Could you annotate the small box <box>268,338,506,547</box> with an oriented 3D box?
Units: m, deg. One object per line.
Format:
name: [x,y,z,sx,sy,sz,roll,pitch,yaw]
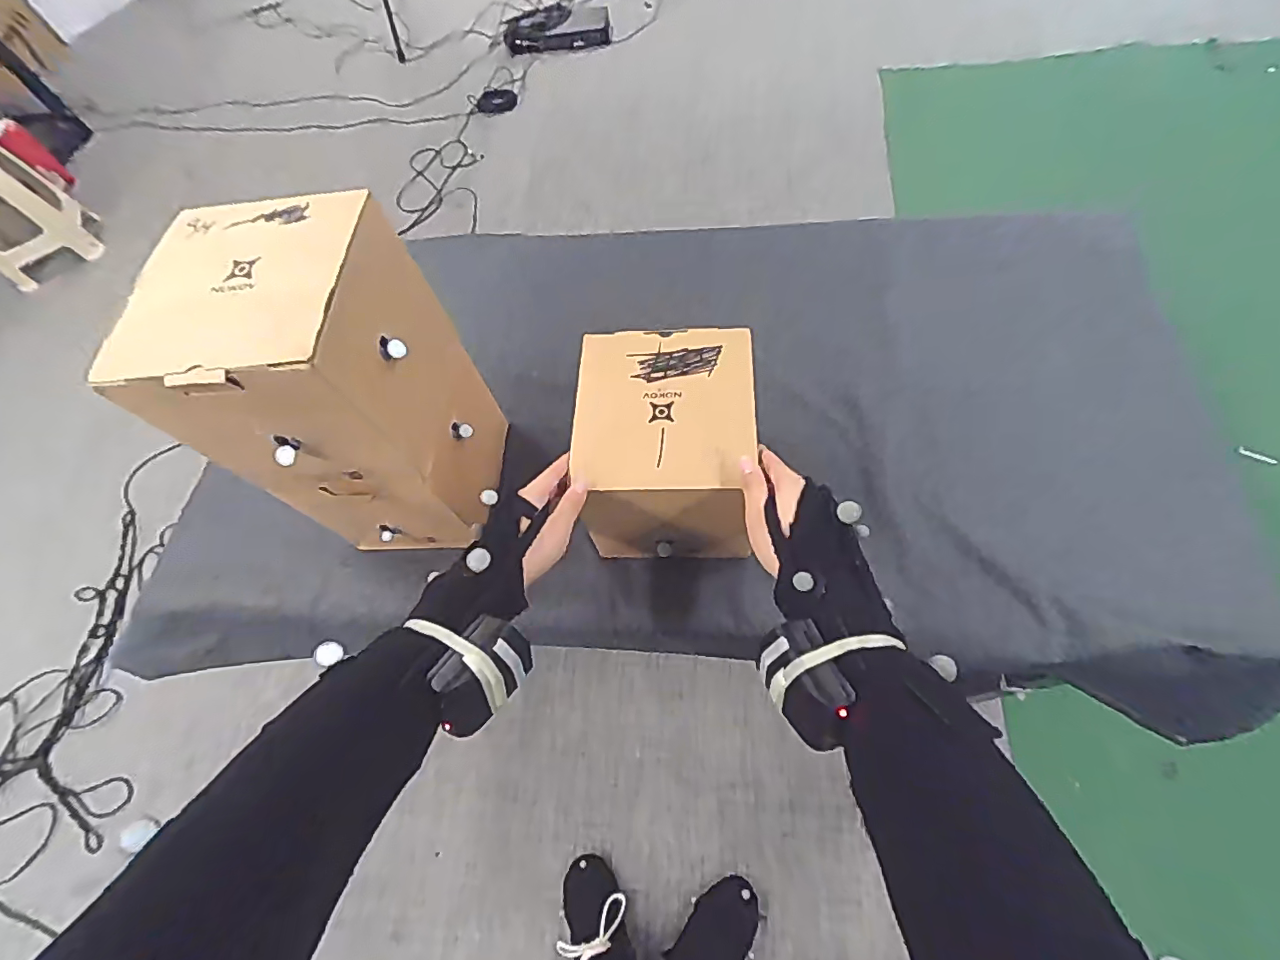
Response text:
small box: [-0.262,-0.035,0.612,0.168,0.176,0.179,-2,63,6]

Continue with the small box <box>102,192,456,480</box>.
small box: [-0.276,-0.108,0.466,0.168,0.176,0.179,-4,63,6]

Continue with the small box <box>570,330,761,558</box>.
small box: [0.034,-0.031,0.565,0.168,0.176,0.179,-1,62,8]
